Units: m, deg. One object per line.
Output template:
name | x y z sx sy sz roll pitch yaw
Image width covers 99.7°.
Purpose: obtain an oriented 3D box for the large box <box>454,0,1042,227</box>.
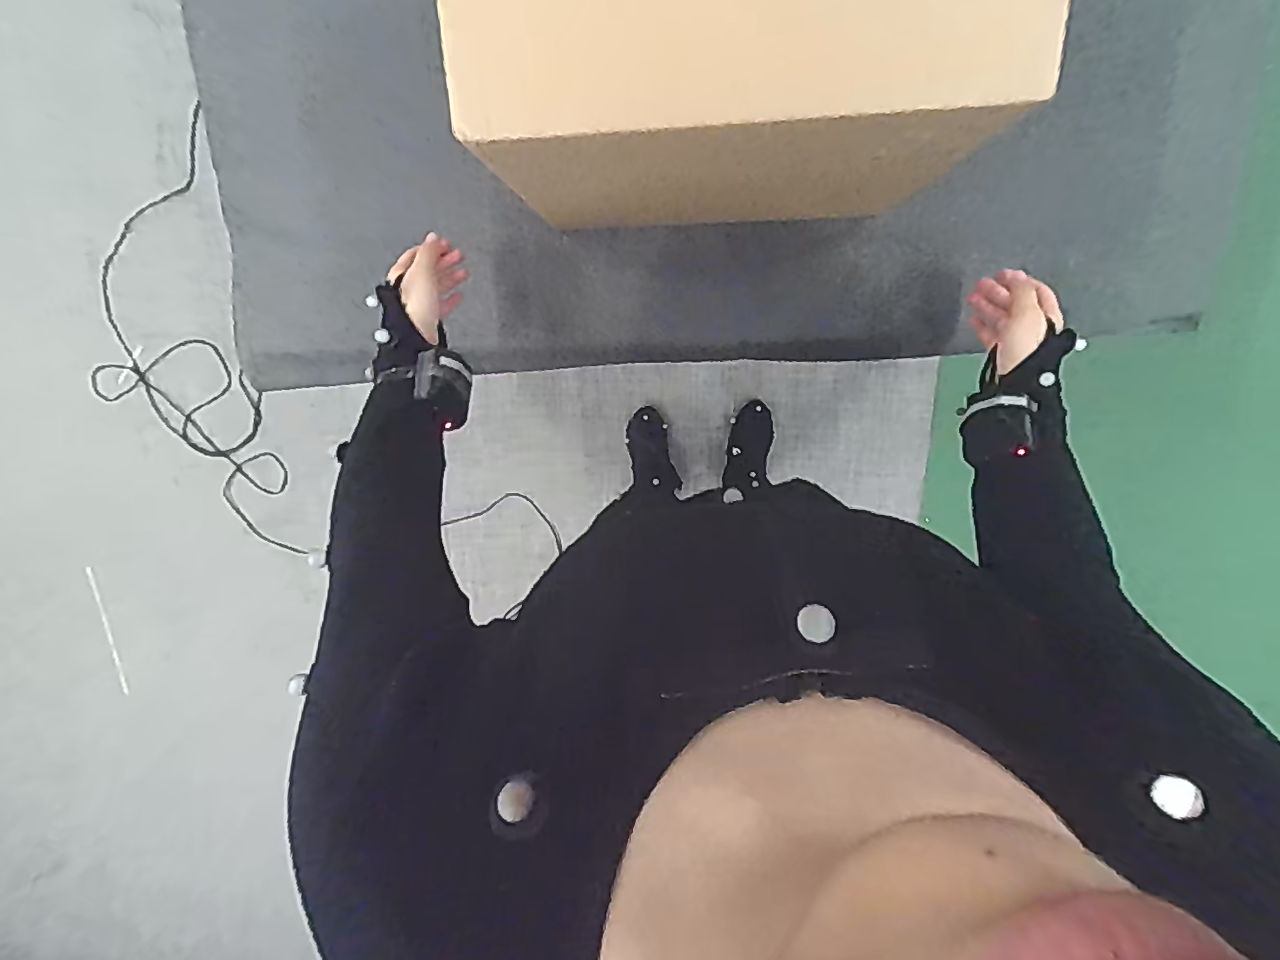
large box | 0.072 -0.441 0.493 0.408 0.320 0.320 -2 104 5
